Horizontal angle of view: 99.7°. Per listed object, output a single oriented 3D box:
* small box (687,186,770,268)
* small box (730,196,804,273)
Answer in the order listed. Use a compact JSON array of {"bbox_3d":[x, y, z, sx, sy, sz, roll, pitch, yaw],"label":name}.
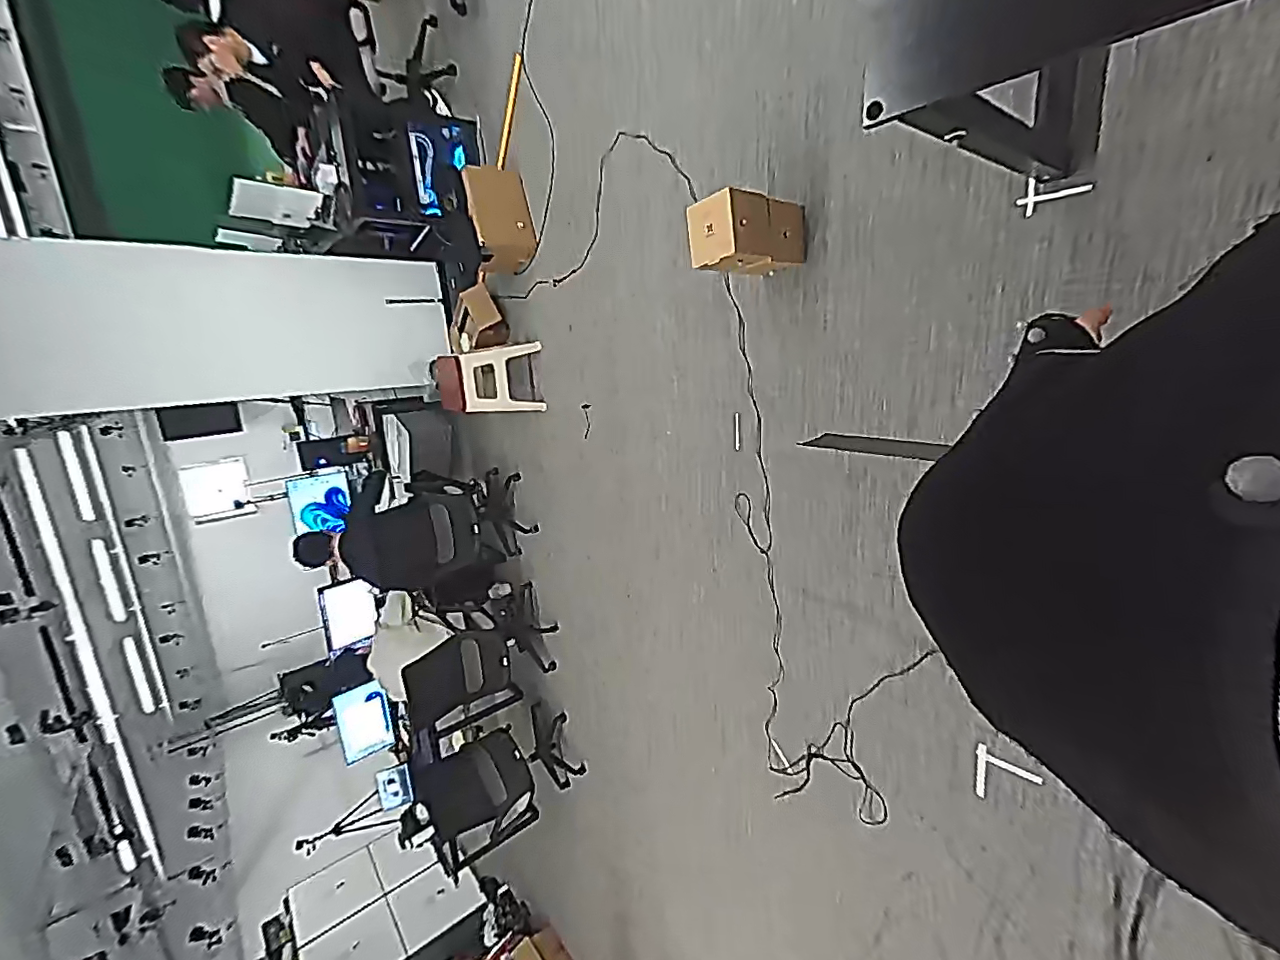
[{"bbox_3d":[0.259,-0.719,1.559,0.168,0.176,0.179,3,103,51],"label":"small box"},{"bbox_3d":[0.386,-0.745,1.658,0.168,0.176,0.179,8,108,51],"label":"small box"}]
